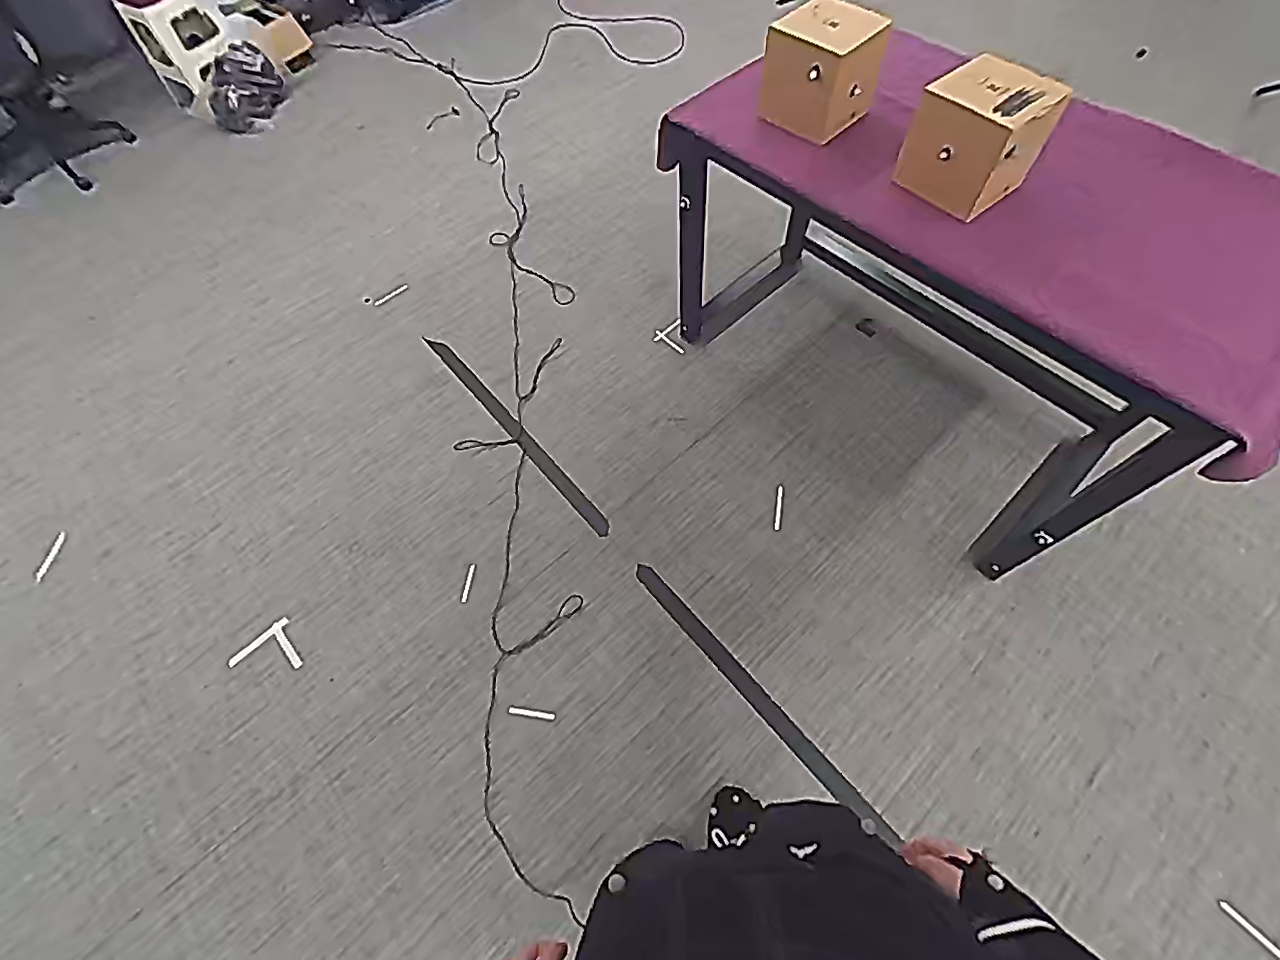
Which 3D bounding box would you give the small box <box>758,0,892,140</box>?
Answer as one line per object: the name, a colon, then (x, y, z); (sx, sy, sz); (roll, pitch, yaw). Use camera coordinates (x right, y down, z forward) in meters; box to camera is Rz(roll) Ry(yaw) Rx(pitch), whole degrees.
small box: (0.366, -0.832, 1.102); (0.168, 0.176, 0.179); (-41, 67, -18)
